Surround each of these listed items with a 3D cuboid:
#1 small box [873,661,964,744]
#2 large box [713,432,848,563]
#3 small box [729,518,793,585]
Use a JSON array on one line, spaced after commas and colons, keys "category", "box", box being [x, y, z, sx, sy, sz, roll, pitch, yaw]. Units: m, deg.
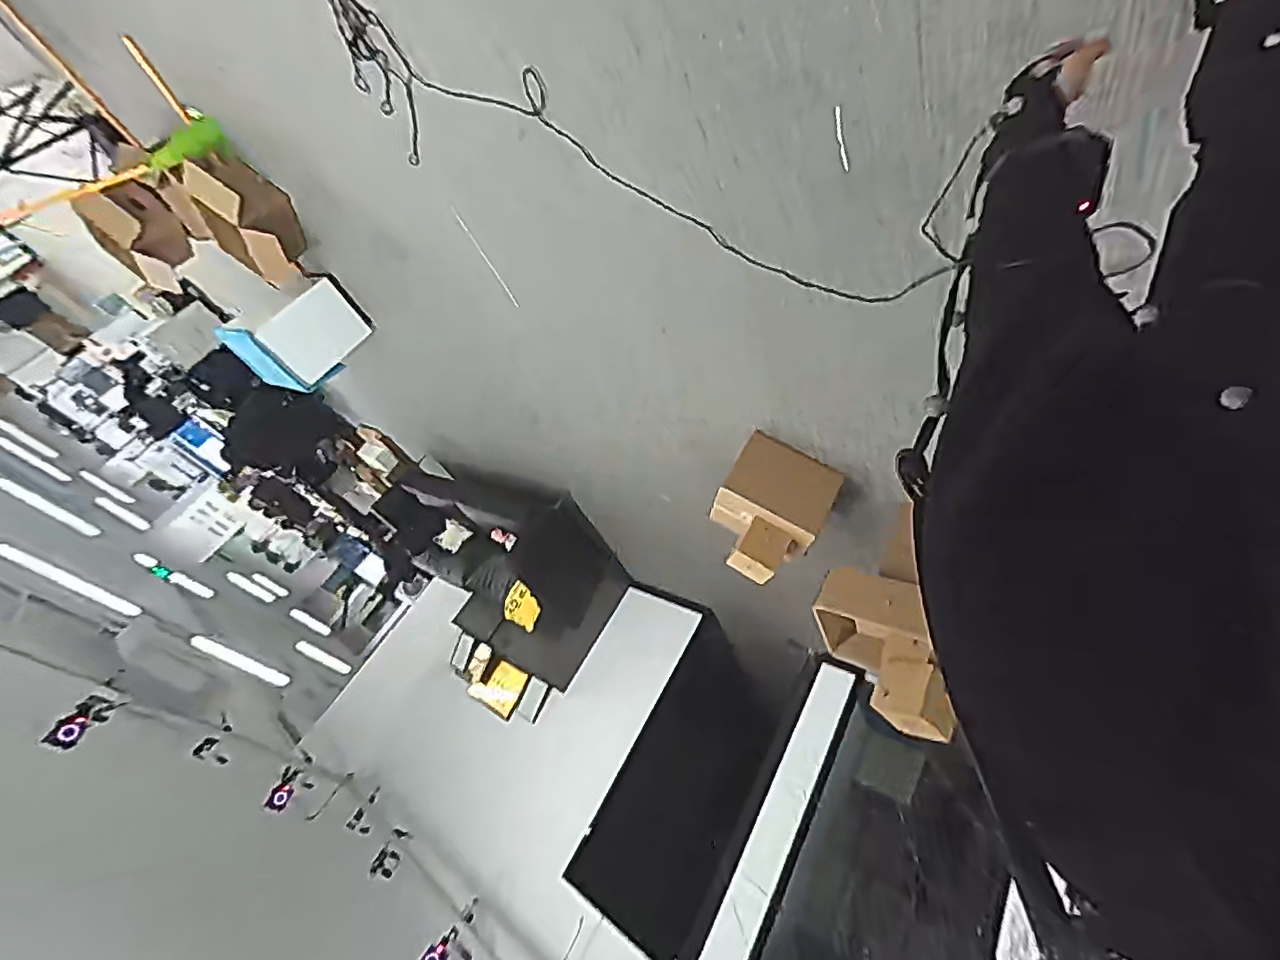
[{"category": "small box", "box": [0.878, 0.689, 1.699, 0.168, 0.176, 0.179, 41, 154, -15]}, {"category": "large box", "box": [0.566, 0.073, 2.219, 0.408, 0.320, 0.320, 30, 155, 13]}, {"category": "small box", "box": [0.476, 0.279, 2.116, 0.168, 0.176, 0.179, 31, 156, 9]}]
